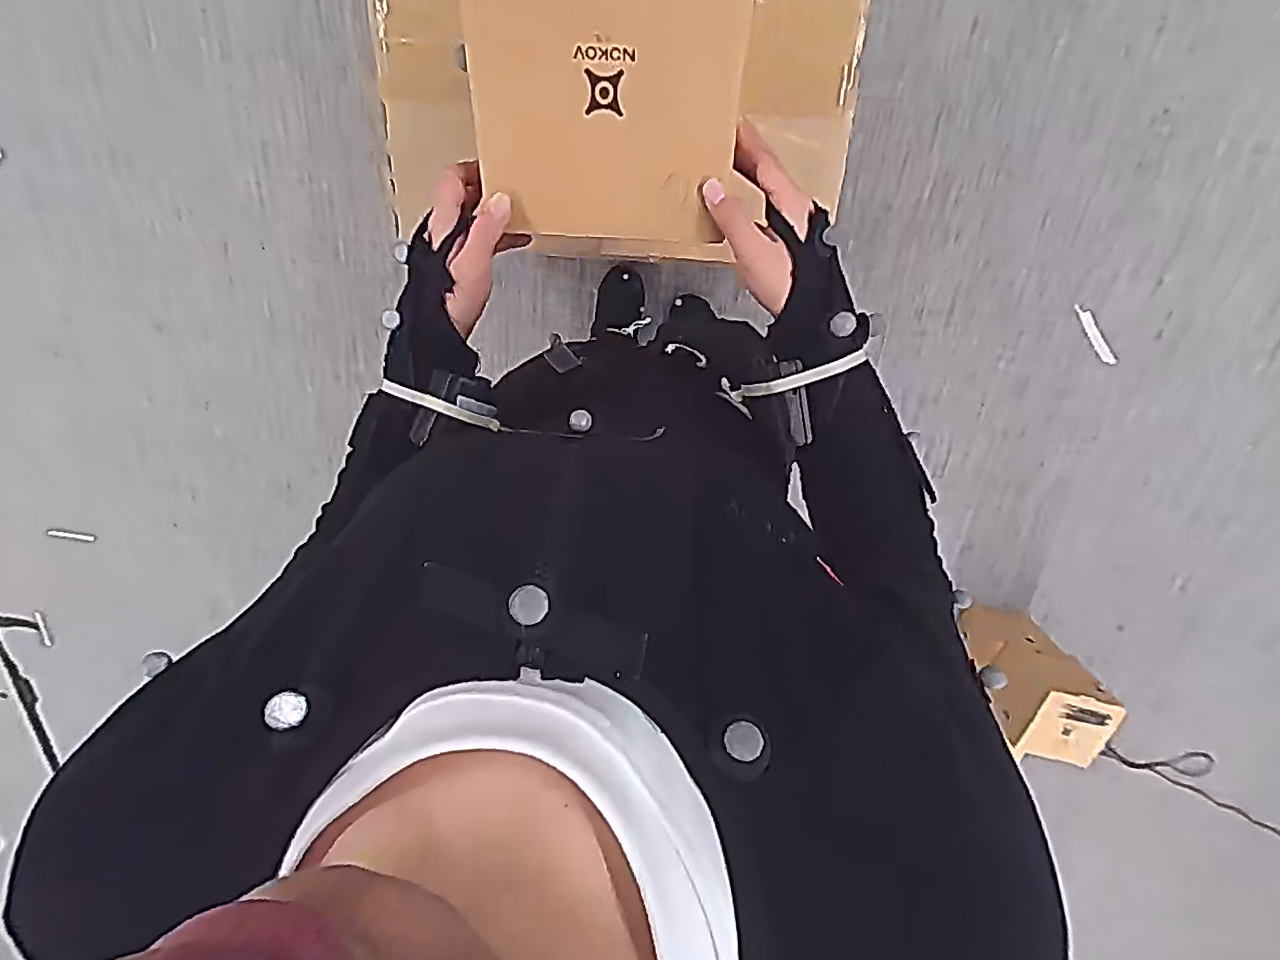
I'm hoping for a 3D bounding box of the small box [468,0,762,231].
[{"bbox_3d":[-0.011,-0.291,0.378,0.168,0.176,0.179,3,127,1],"label":"small box"}]

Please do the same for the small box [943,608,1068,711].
[{"bbox_3d":[0.928,0.454,1.392,0.179,0.176,0.168,14,110,2],"label":"small box"}]
